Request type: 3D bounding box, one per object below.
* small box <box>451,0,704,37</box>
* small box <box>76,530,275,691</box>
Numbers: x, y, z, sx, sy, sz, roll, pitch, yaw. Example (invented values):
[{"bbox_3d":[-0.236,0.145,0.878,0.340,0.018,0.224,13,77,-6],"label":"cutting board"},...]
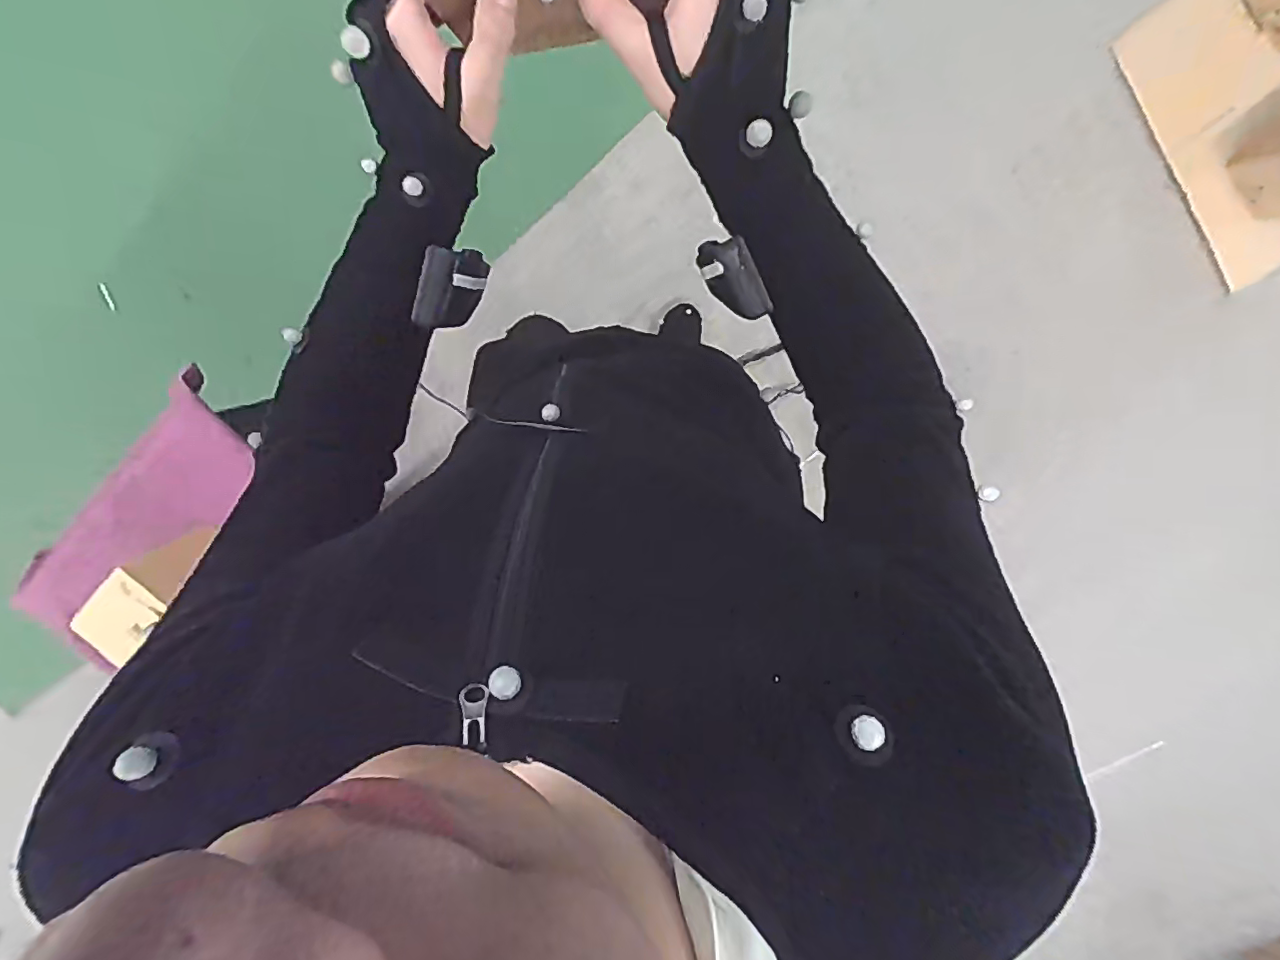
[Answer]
[{"bbox_3d":[-0.049,-0.369,0.276,0.168,0.176,0.179,-2,103,8],"label":"small box"},{"bbox_3d":[-0.792,0.220,0.940,0.179,0.176,0.168,-39,102,17],"label":"small box"}]
